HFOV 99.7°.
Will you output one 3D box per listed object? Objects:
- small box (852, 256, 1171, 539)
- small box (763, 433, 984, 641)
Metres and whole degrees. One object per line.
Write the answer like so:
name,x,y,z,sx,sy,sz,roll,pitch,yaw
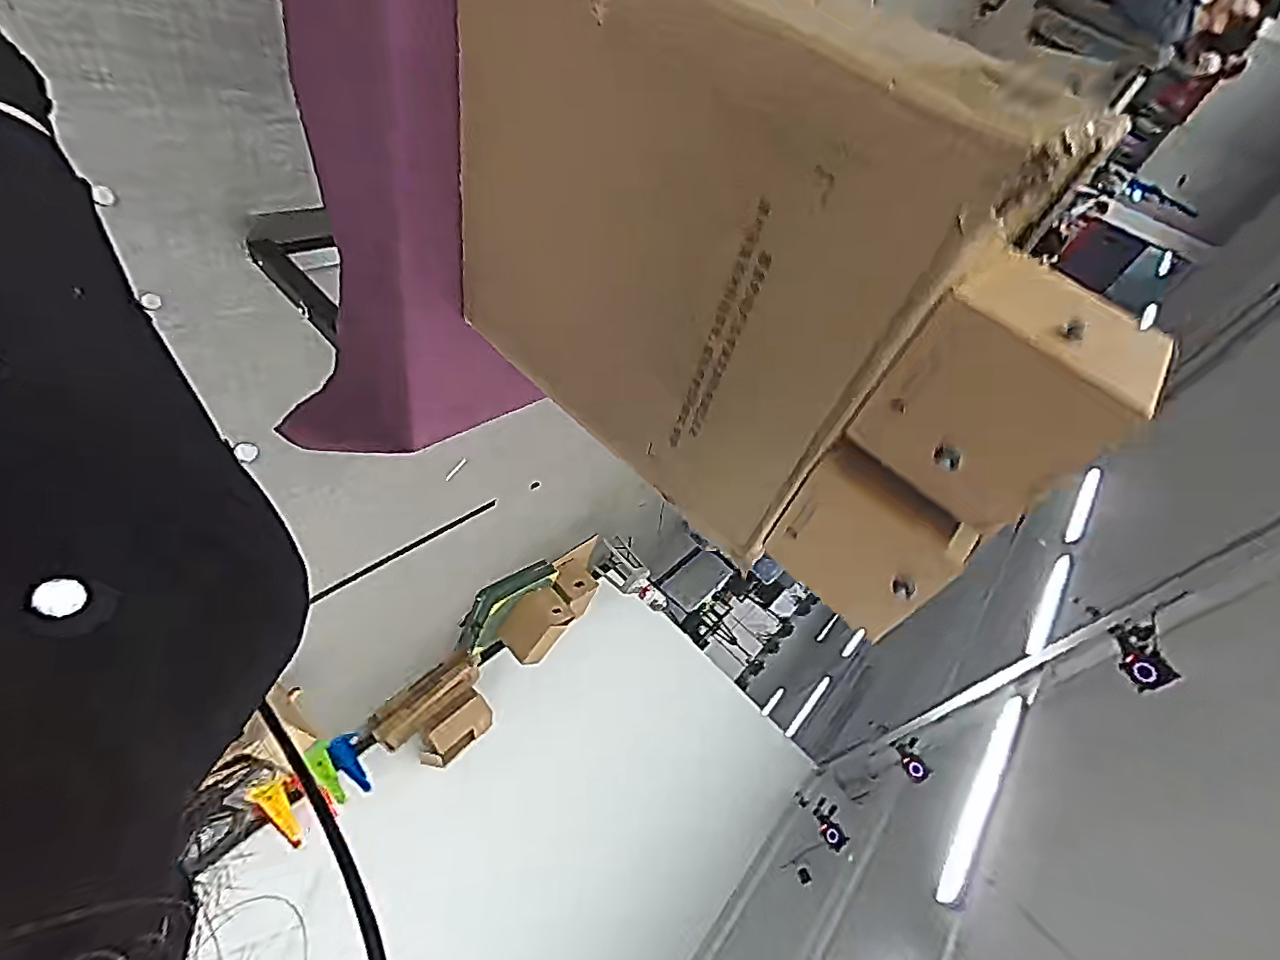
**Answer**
small box,0.340,-0.084,0.516,0.179,0.176,0.168,-36,161,-36
small box,0.281,0.048,0.644,0.179,0.176,0.168,-35,157,-36
